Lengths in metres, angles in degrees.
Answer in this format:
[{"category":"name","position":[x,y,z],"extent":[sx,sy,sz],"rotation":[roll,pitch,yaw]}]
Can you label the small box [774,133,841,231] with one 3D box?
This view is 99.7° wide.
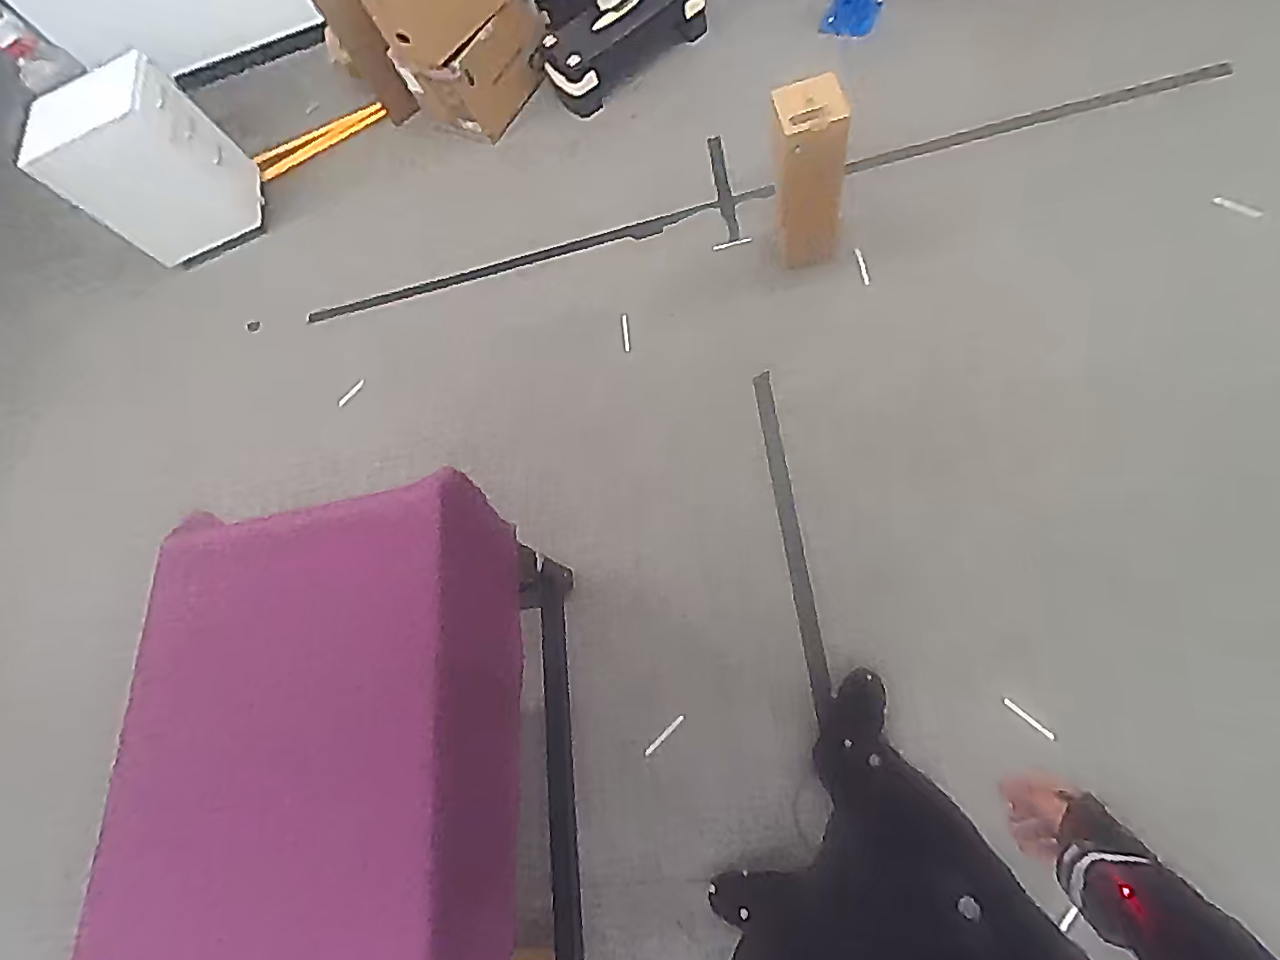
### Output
[{"category":"small box","position":[0.492,-0.881,1.610],"extent":[0.168,0.176,0.179],"rotation":[-7,70,11]}]
